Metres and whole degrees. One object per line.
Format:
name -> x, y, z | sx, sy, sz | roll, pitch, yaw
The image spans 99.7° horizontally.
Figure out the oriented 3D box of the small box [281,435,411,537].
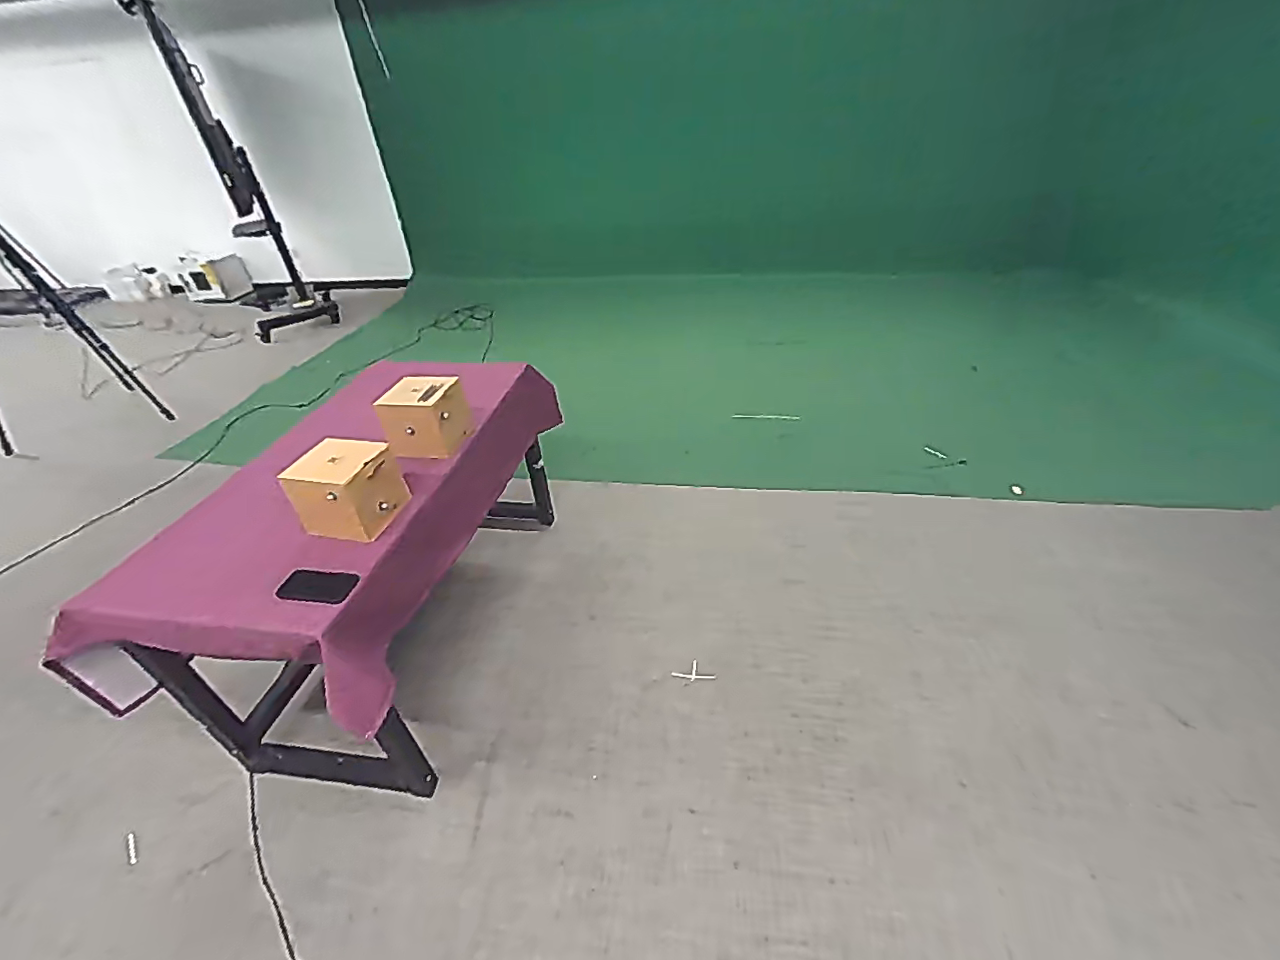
small box -> -0.668, 0.013, 1.251 | 0.179, 0.176, 0.168 | 6, 37, 13
